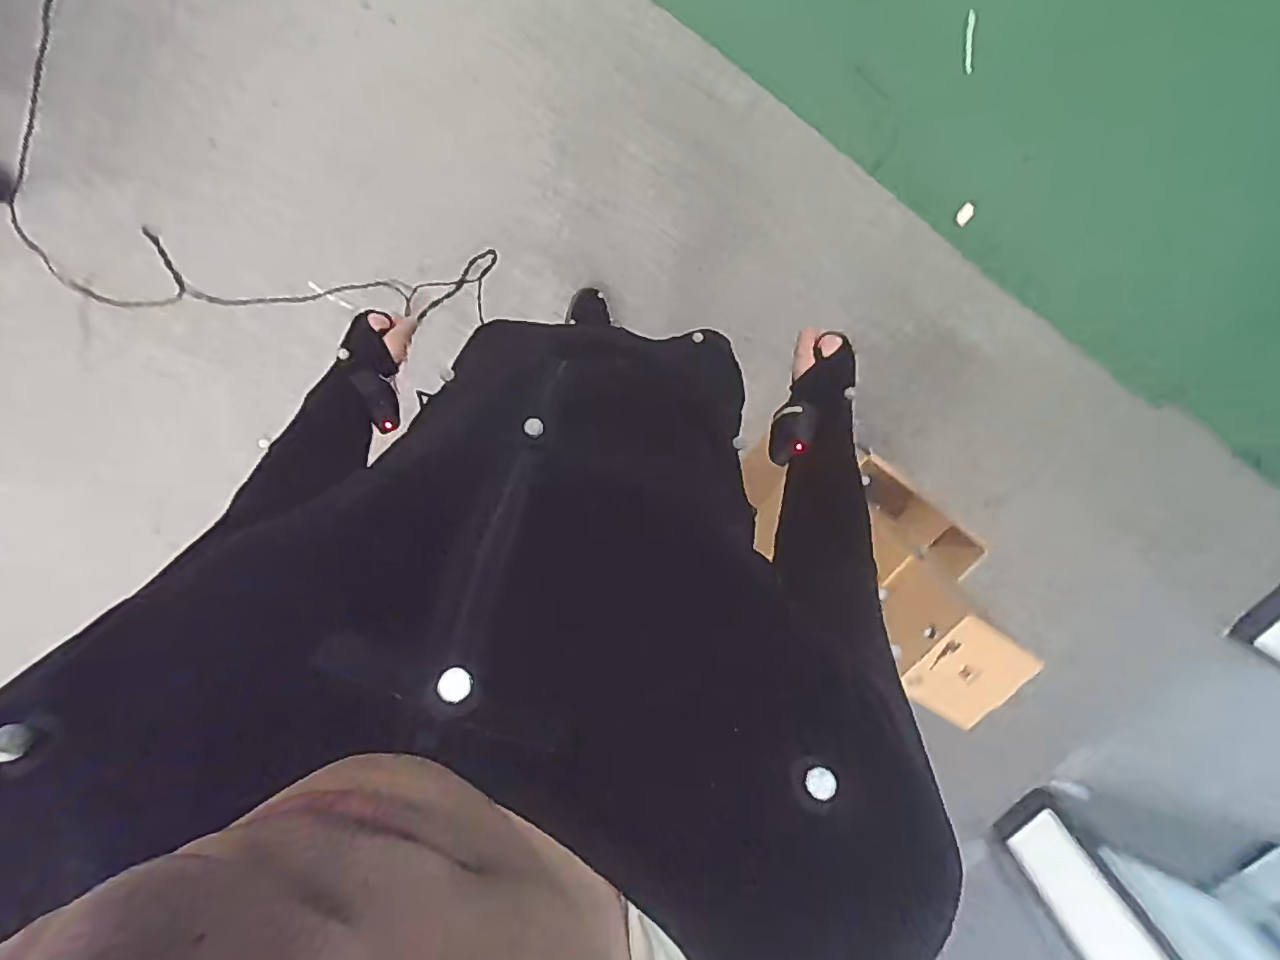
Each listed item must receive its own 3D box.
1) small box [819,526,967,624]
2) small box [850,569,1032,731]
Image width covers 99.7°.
[{"bbox_3d":[0.490,0.214,1.076,0.179,0.176,0.168,33,108,-13],"label":"small box"},{"bbox_3d":[0.501,0.282,0.926,0.179,0.176,0.168,33,107,-14],"label":"small box"}]
